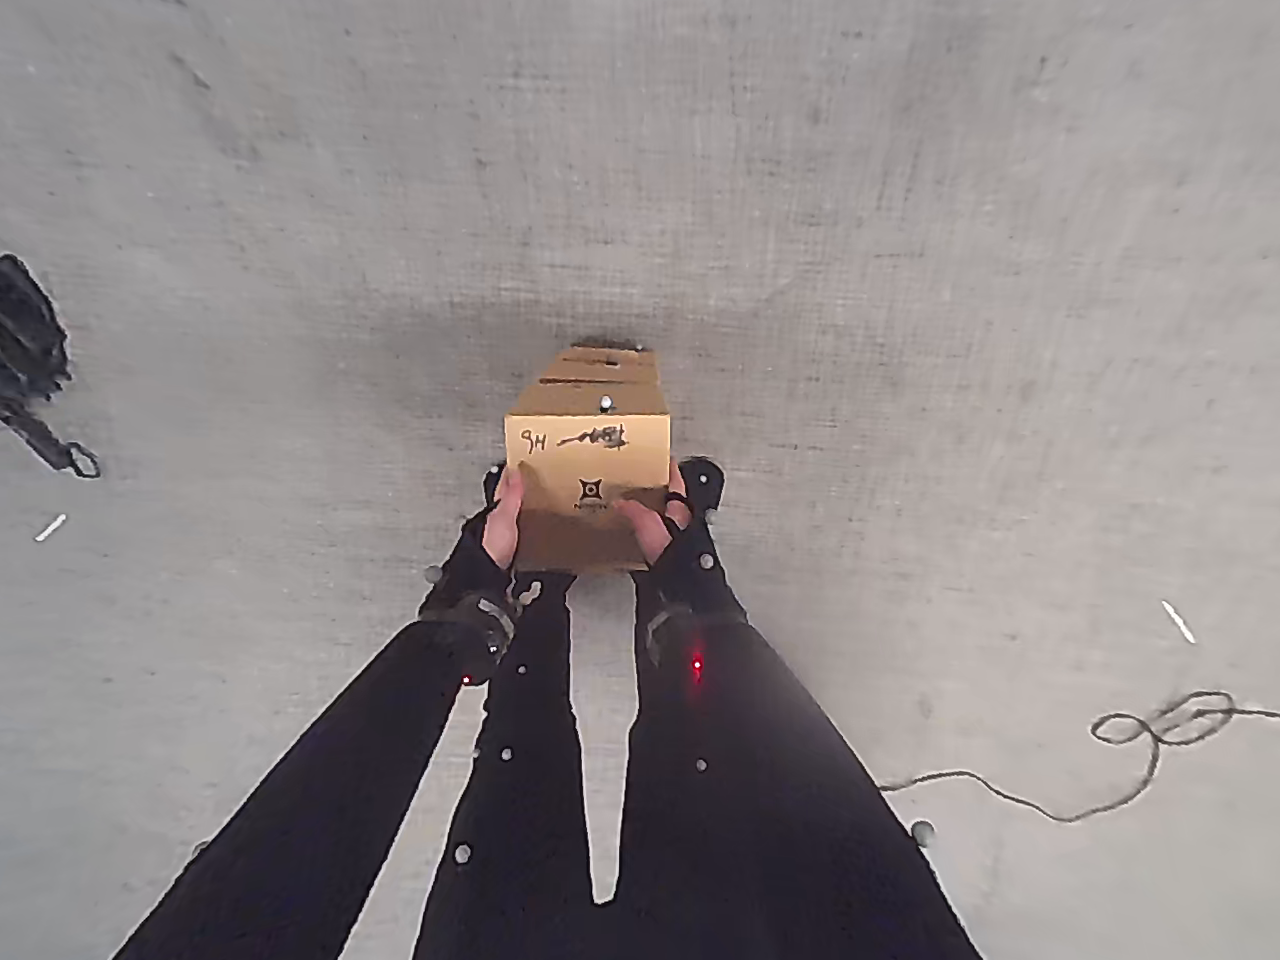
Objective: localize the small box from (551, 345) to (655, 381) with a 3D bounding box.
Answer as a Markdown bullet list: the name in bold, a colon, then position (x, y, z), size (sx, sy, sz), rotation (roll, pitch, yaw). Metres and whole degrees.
- **small box**: position (-0.063, -0.136, 0.939), size (0.168, 0.176, 0.179), rotation (2, 111, 0)

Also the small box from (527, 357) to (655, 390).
- **small box**: position (-0.064, -0.079, 0.787), size (0.168, 0.176, 0.179), rotation (1, 109, -1)

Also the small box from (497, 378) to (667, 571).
- **small box**: position (-0.058, -0.013, 0.622), size (0.168, 0.176, 0.179), rotation (-1, 112, -2)
